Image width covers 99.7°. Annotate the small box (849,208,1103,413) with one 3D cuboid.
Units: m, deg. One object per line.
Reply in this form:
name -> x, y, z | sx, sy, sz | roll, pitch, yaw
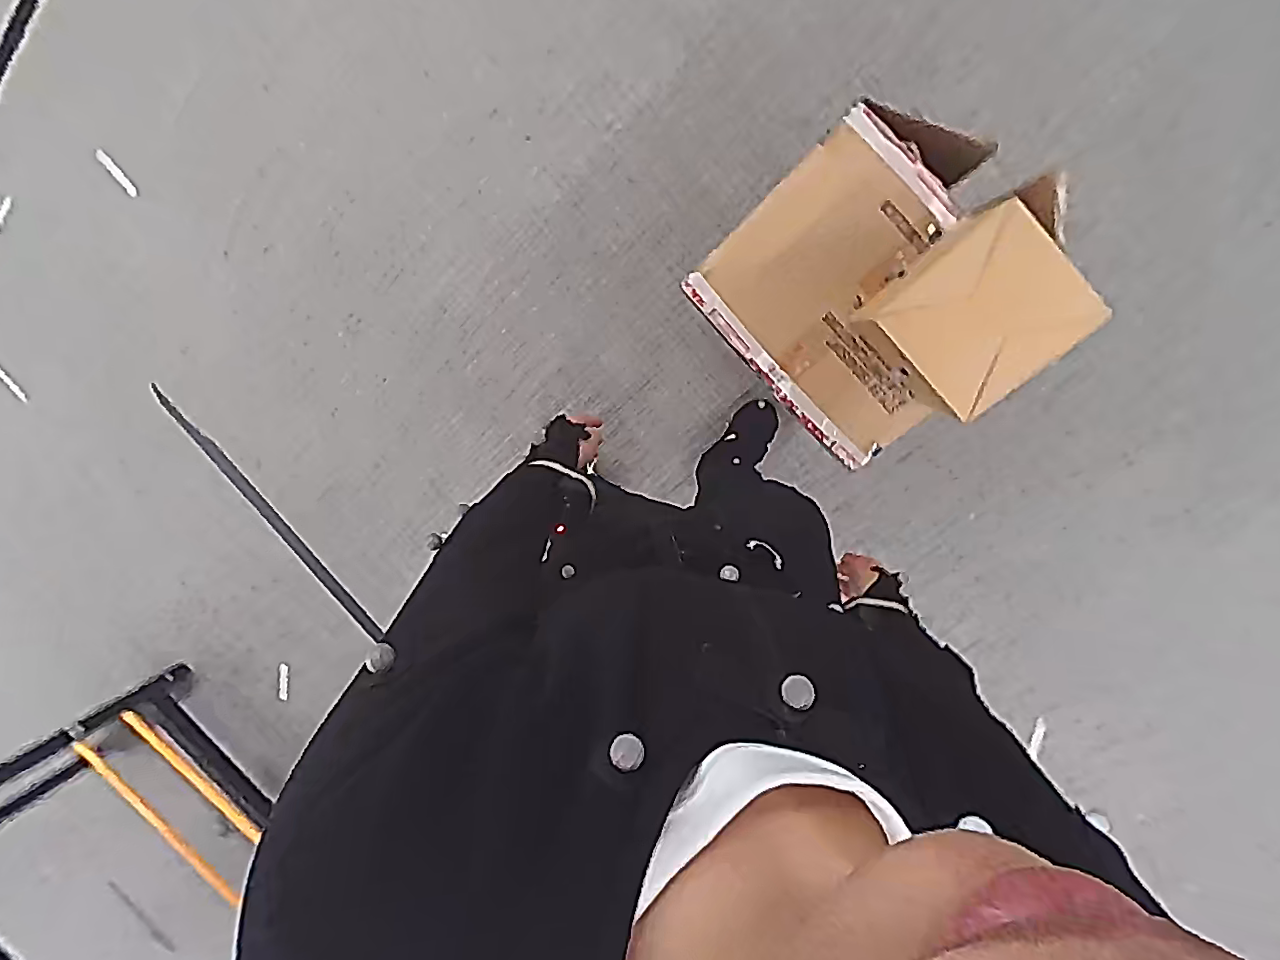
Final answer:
small box -> 0.393, -0.199, 0.664 | 0.179, 0.176, 0.168 | -42, 95, 19
